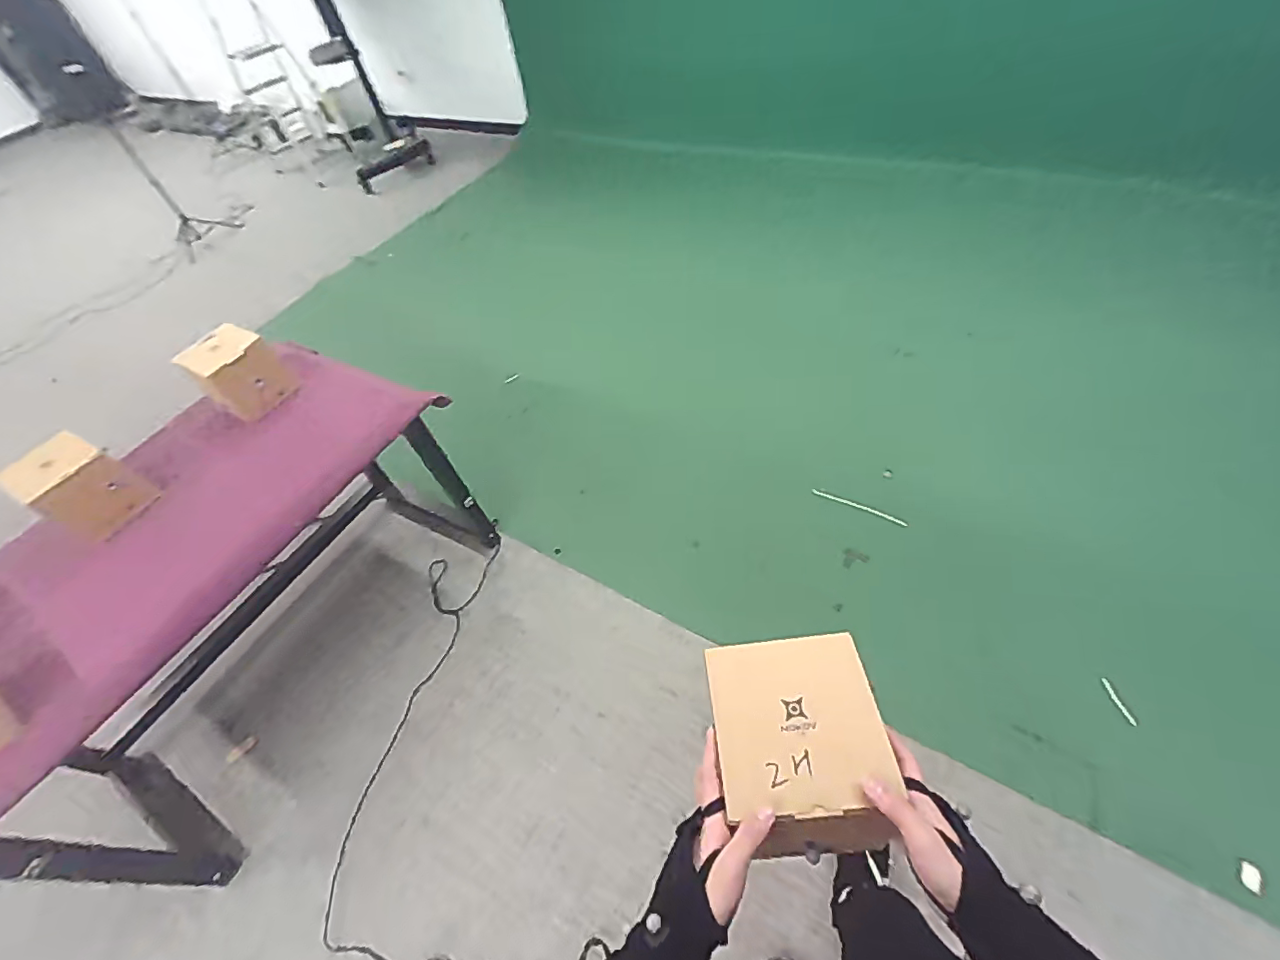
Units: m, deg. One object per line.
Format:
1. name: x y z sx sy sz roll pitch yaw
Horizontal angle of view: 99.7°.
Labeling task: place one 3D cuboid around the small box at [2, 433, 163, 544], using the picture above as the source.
1. small box: -1.276 0.025 1.252 0.179 0.176 0.168 20 58 24

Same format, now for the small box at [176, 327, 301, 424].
1. small box: -1.057 -0.274 1.440 0.179 0.176 0.168 22 60 24

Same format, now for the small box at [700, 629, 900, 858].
1. small box: 0.162 0.294 0.604 0.168 0.176 0.179 -9 44 5
